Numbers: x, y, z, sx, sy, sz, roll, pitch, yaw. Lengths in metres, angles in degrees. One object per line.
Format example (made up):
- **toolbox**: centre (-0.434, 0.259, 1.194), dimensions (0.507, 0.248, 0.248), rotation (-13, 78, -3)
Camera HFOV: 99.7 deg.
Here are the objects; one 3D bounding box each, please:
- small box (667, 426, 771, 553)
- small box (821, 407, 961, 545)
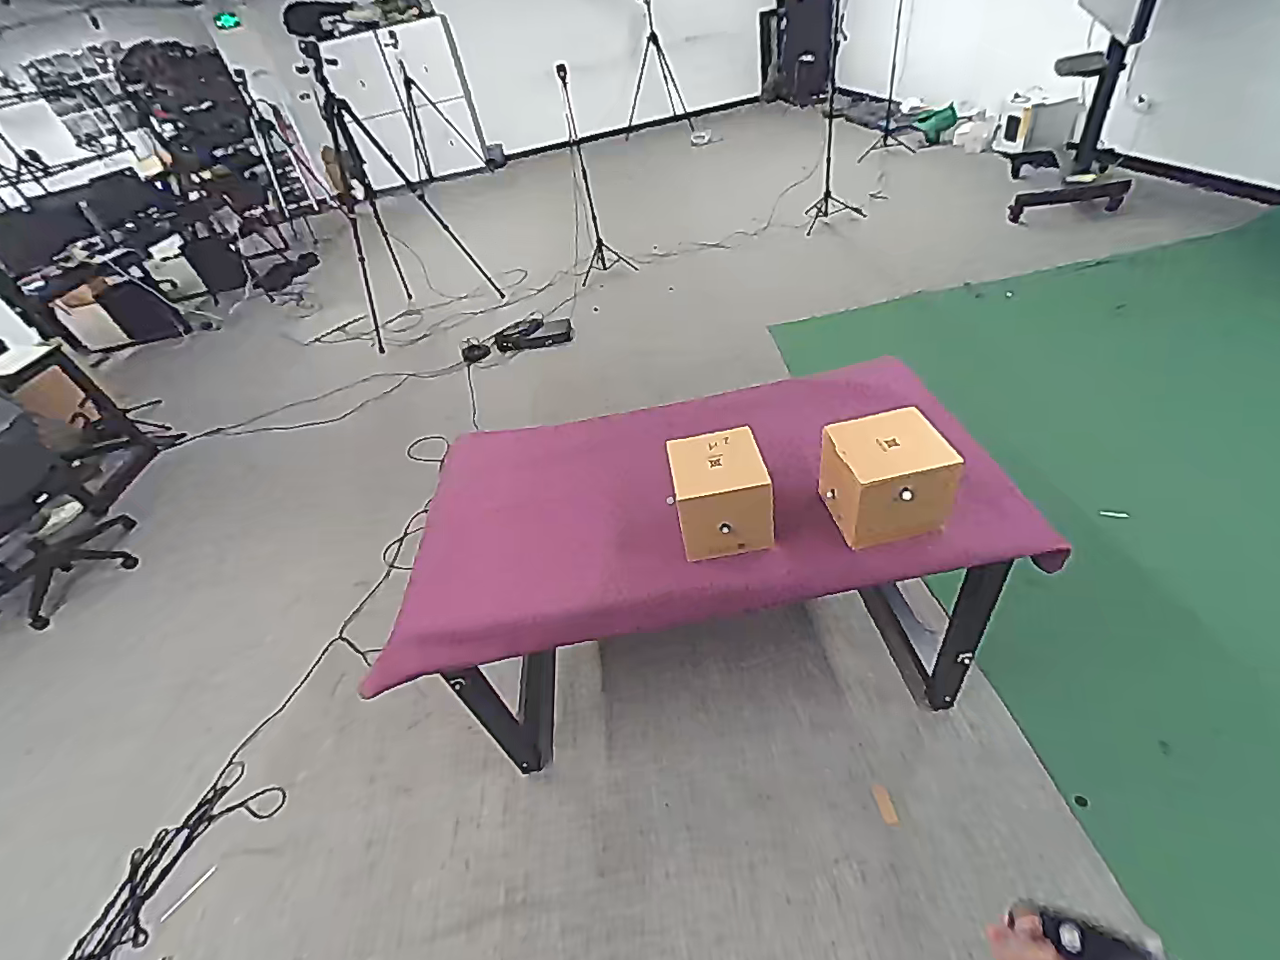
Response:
- **small box**: centre (0.152, 0.025, 1.042), dimensions (0.168, 0.176, 0.179), rotation (-10, 40, 4)
- **small box**: centre (0.447, -0.005, 0.996), dimensions (0.179, 0.176, 0.168), rotation (-13, 42, 2)
